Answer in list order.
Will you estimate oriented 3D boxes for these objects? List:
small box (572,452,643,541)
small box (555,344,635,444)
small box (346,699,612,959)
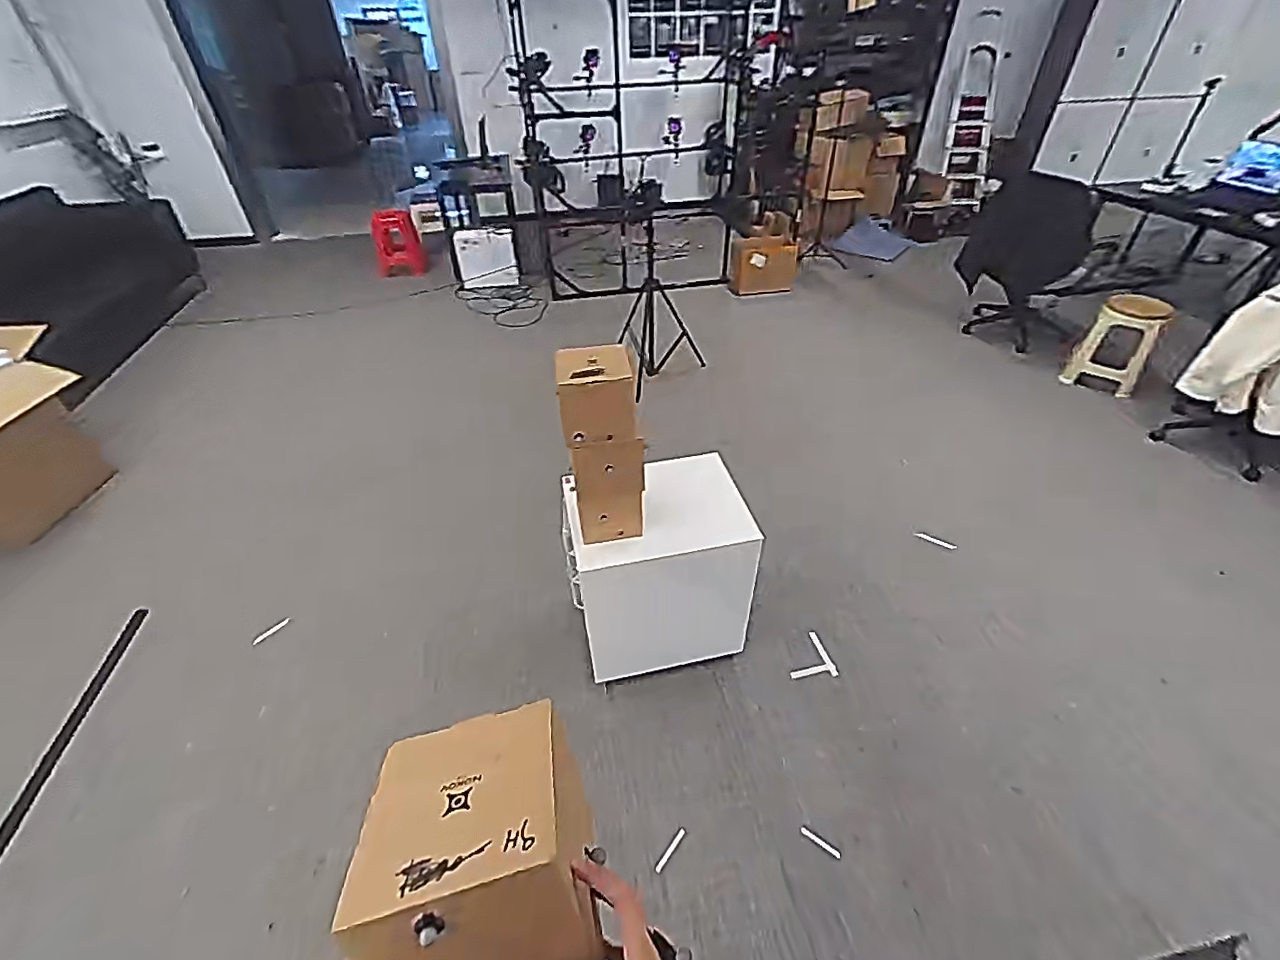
[{"bbox_3d":[-0.088,0.051,1.480,0.168,0.176,0.179,-9,40,-8],"label":"small box"},{"bbox_3d":[-0.104,-0.196,1.263,0.168,0.176,0.179,-7,39,-5],"label":"small box"},{"bbox_3d":[-0.129,0.343,0.494,0.168,0.176,0.179,-15,20,-5],"label":"small box"}]
